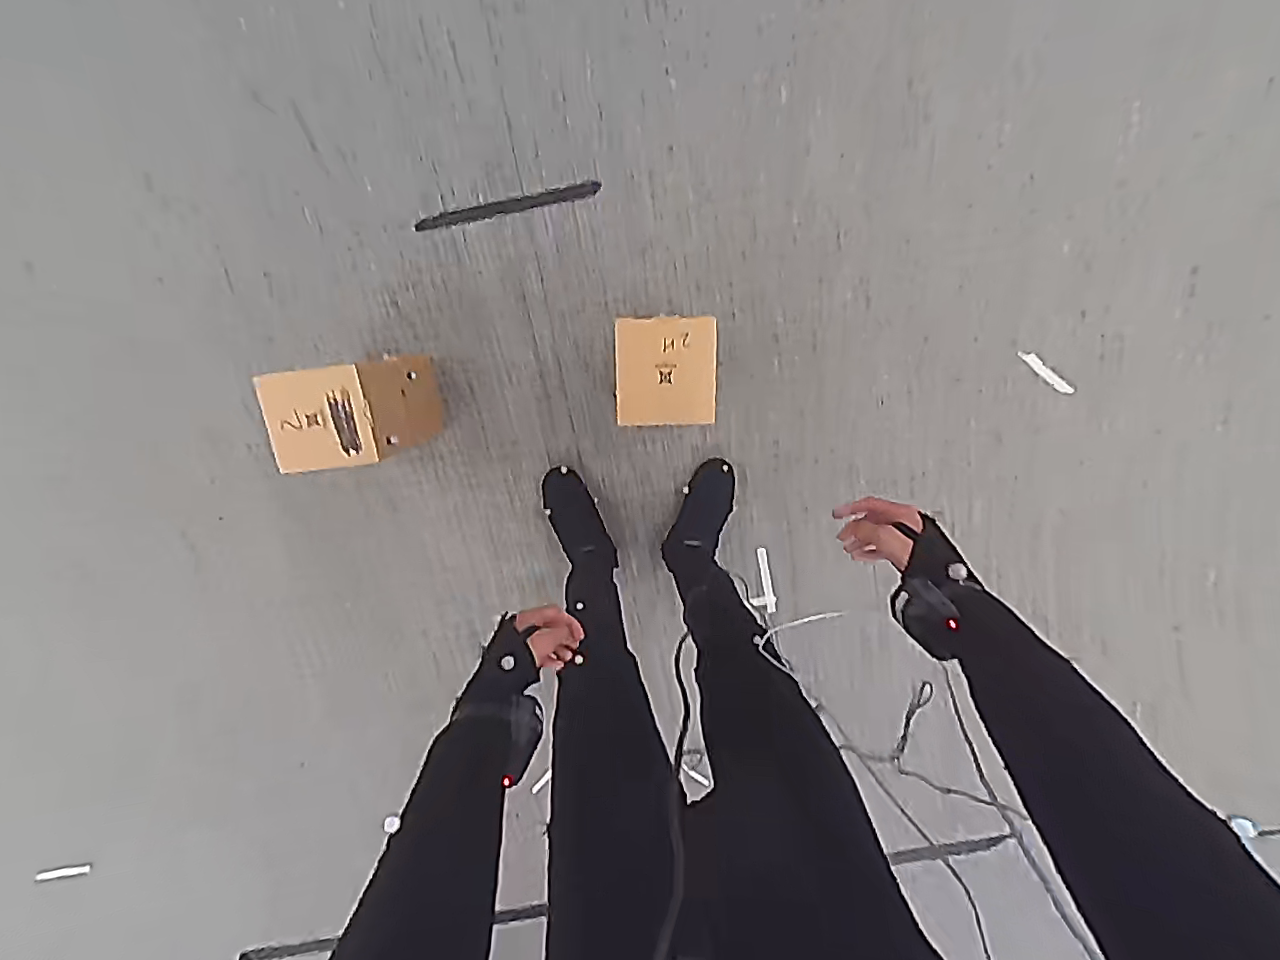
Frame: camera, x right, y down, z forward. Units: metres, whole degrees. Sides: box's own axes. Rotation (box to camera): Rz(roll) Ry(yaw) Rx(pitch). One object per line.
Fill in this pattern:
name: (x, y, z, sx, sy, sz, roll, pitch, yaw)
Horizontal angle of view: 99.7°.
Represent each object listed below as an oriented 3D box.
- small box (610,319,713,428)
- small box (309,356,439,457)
small box: (0.033, -0.191, 0.953, 0.168, 0.176, 0.179, -1, 104, -2)
small box: (-0.535, -0.156, 1.116, 0.168, 0.176, 0.179, -8, 103, 1)
